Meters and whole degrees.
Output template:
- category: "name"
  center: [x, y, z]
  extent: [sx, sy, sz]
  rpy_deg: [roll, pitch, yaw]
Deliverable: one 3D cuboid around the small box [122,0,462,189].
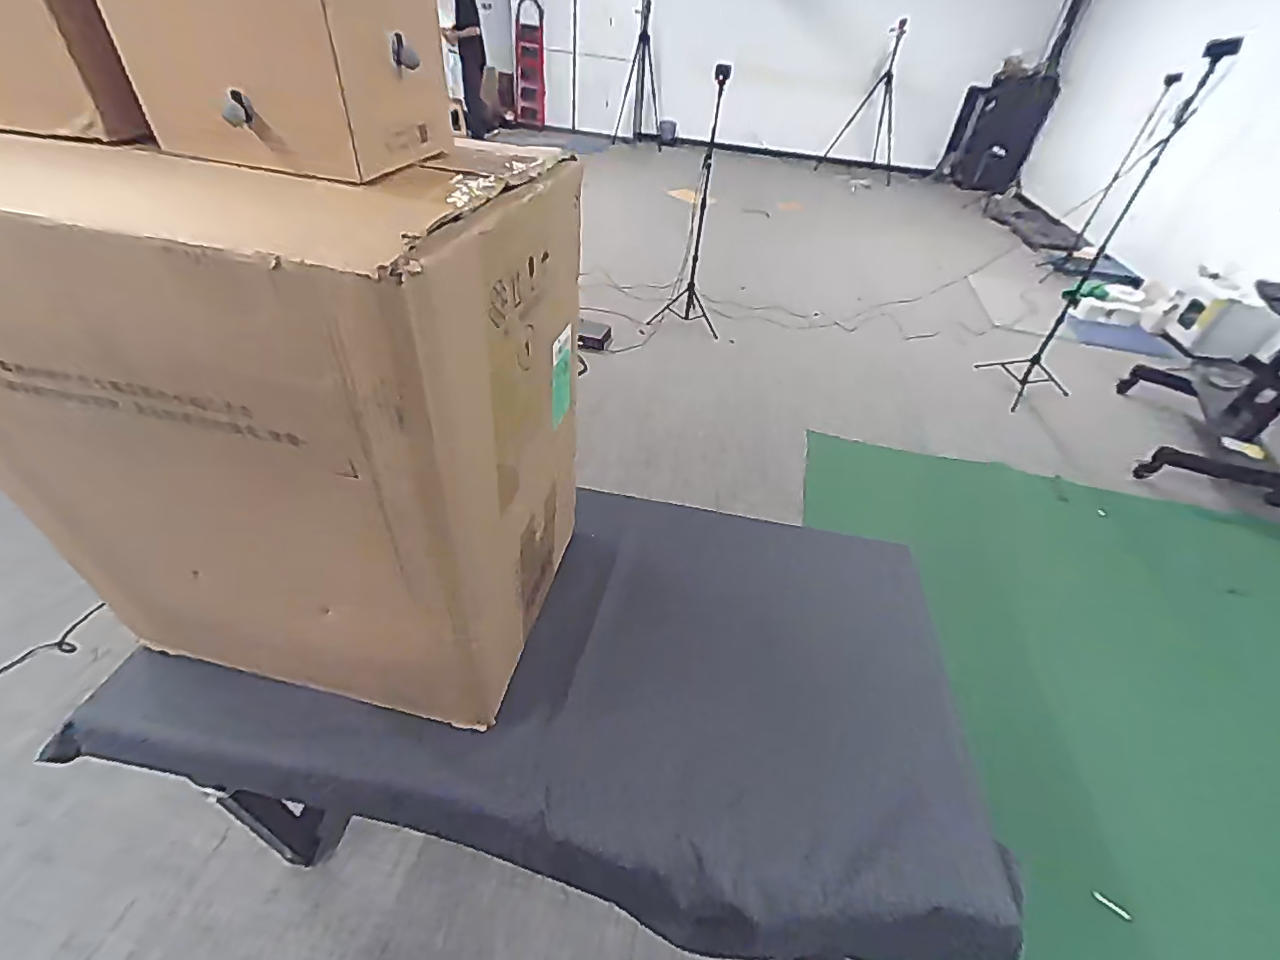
- category: "small box"
  center: [-0.265, -0.353, 0.443]
  extent: [0.179, 0.176, 0.168]
  rpy_deg: [10, 41, 5]
